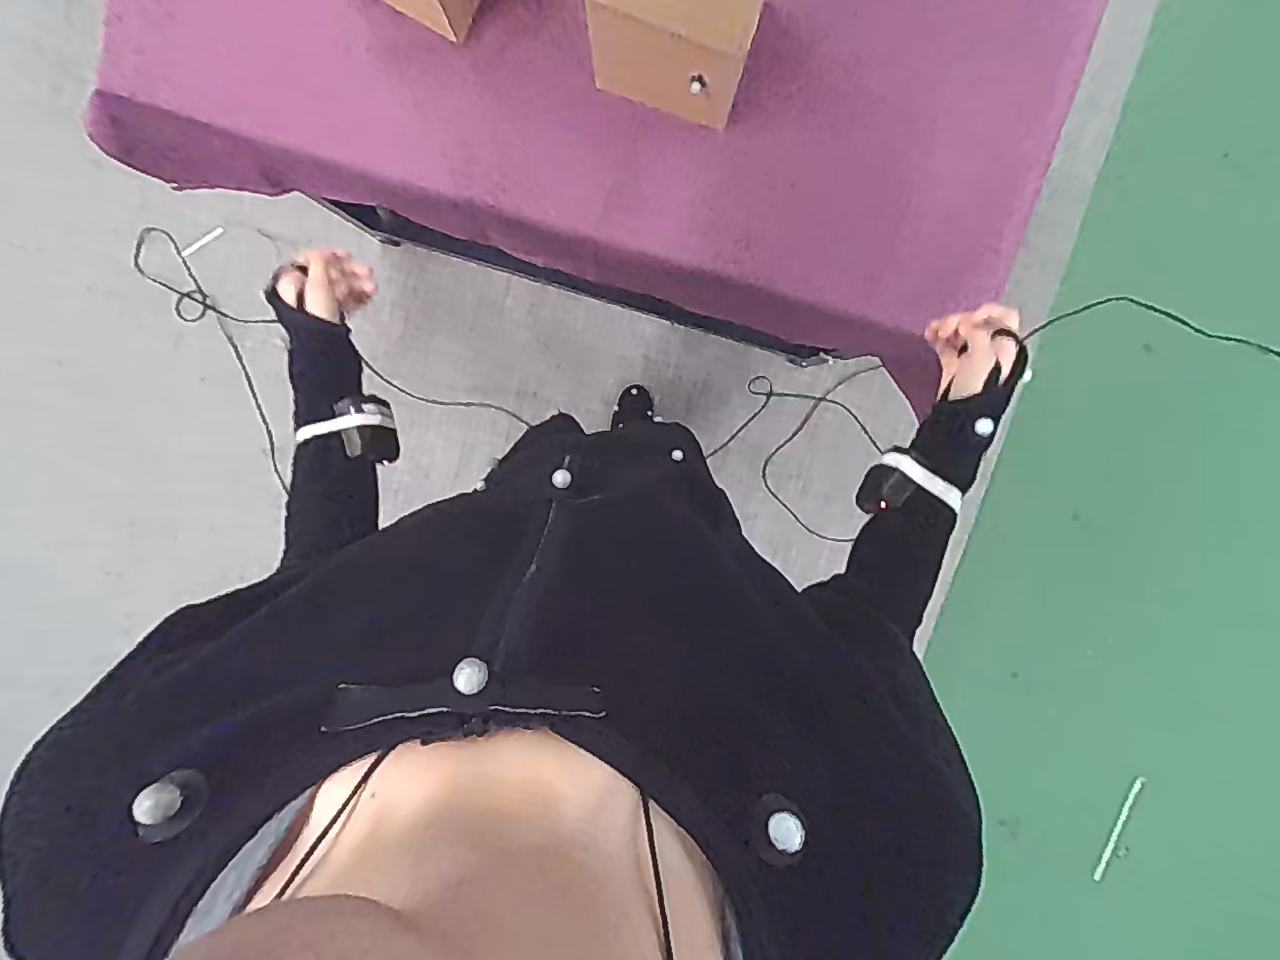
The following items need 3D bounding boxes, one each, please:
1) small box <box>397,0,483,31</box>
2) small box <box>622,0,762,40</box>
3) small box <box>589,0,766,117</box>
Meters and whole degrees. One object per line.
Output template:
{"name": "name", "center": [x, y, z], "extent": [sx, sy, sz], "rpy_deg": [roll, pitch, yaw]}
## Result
{"name": "small box", "center": [-0.263, -0.660, 0.597], "extent": [0.179, 0.176, 0.168], "rpy_deg": [27, 97, -4]}
{"name": "small box", "center": [0.051, -0.527, 0.453], "extent": [0.179, 0.176, 0.168], "rpy_deg": [19, 97, -3]}
{"name": "small box", "center": [0.053, -0.555, 0.614], "extent": [0.179, 0.176, 0.168], "rpy_deg": [18, 96, -3]}
